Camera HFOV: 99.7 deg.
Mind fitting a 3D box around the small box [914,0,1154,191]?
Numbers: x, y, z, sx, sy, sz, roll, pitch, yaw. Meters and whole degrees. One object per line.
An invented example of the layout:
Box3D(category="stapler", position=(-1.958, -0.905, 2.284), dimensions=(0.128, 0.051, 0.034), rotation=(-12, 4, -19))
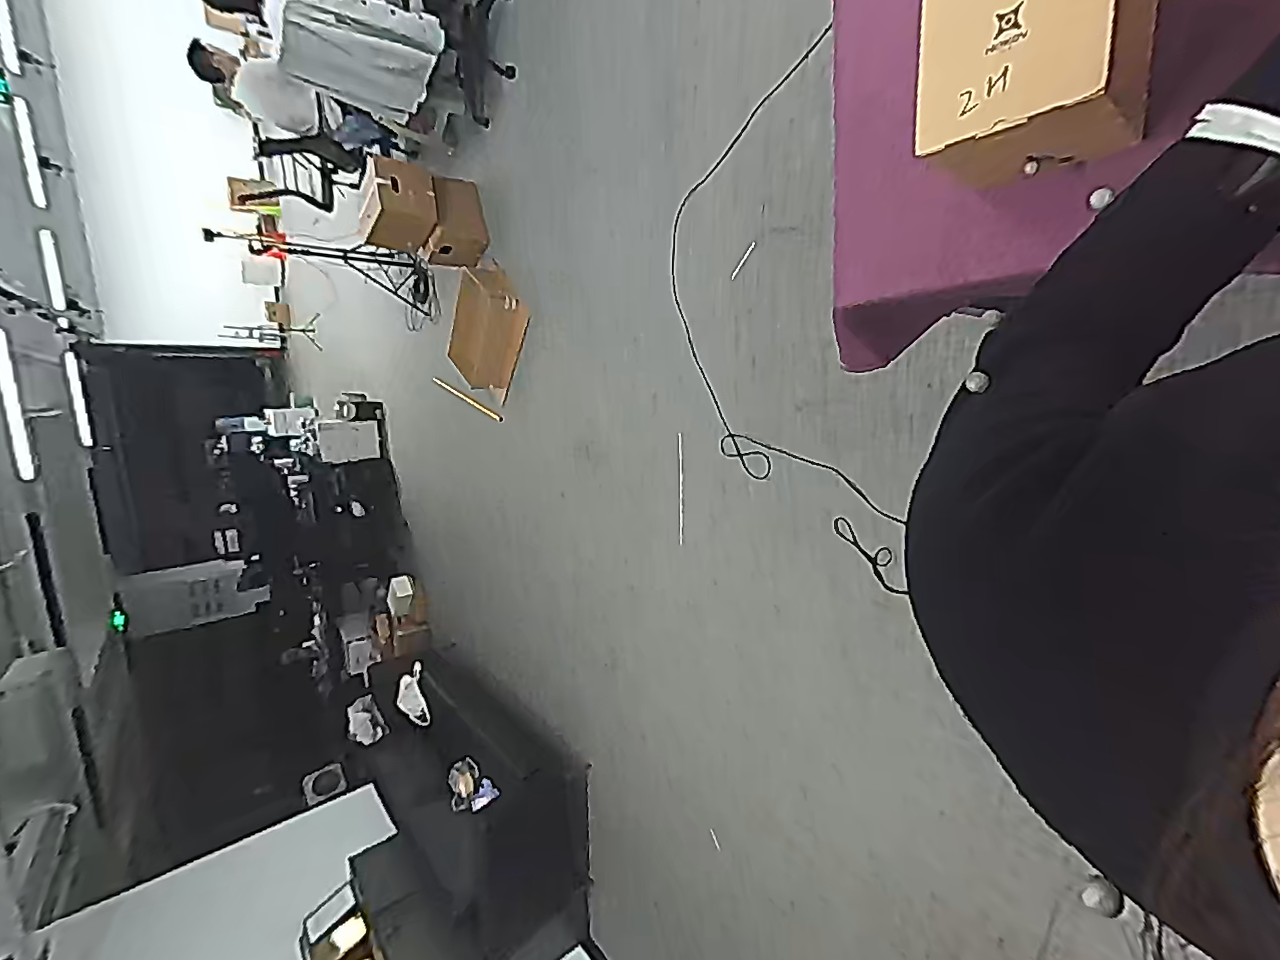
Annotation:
Box3D(category="small box", position=(0.418, -0.439, 0.577), dimensions=(0.168, 0.176, 0.179), rotation=(9, 103, 50))
